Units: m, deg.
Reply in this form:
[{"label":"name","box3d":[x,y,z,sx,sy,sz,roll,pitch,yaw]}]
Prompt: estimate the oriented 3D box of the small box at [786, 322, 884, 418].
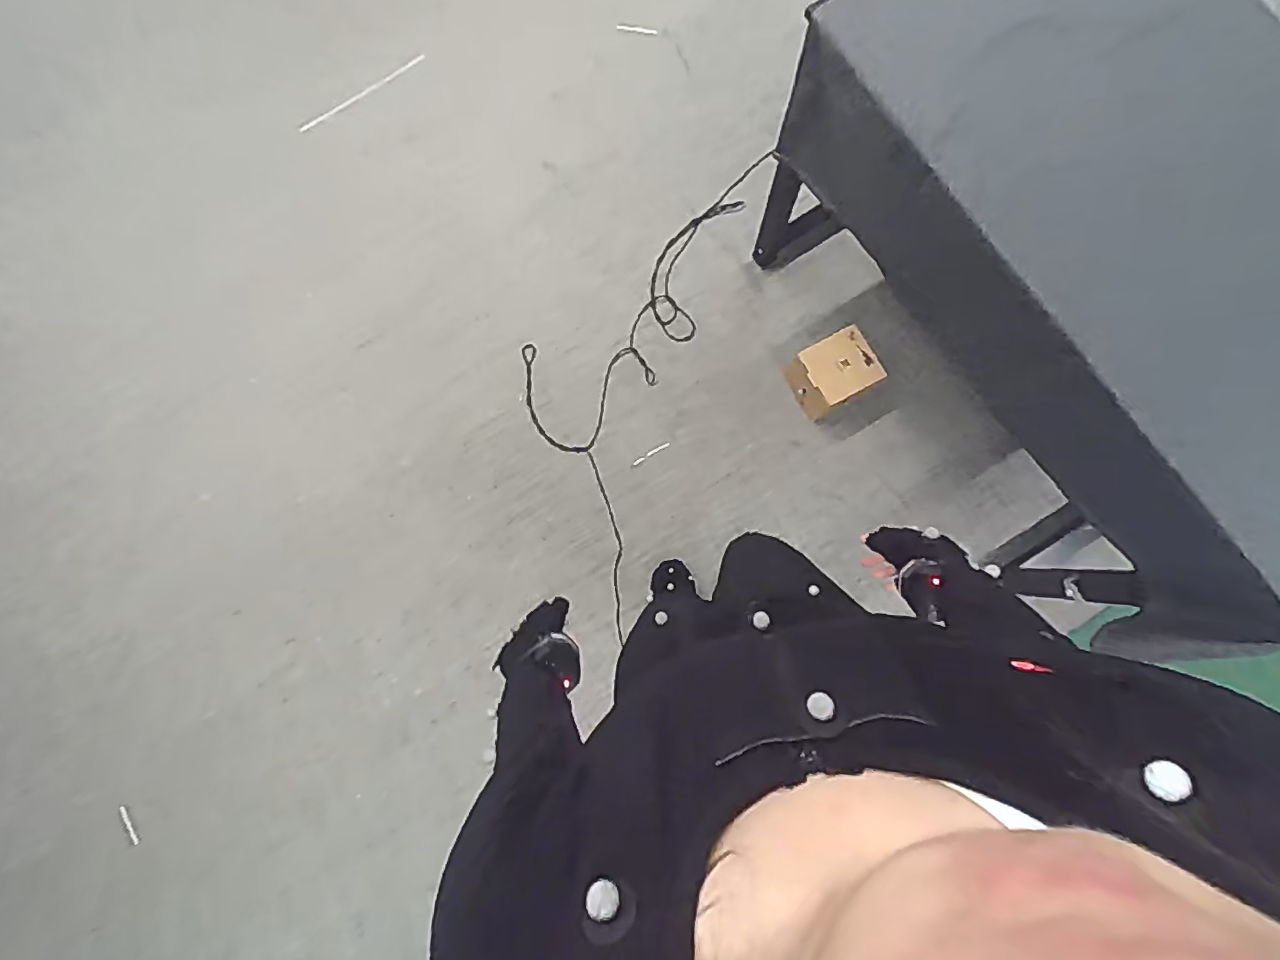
[{"label":"small box","box3d":[0.515,-0.290,1.464,0.179,0.176,0.168,-28,82,-2]}]
